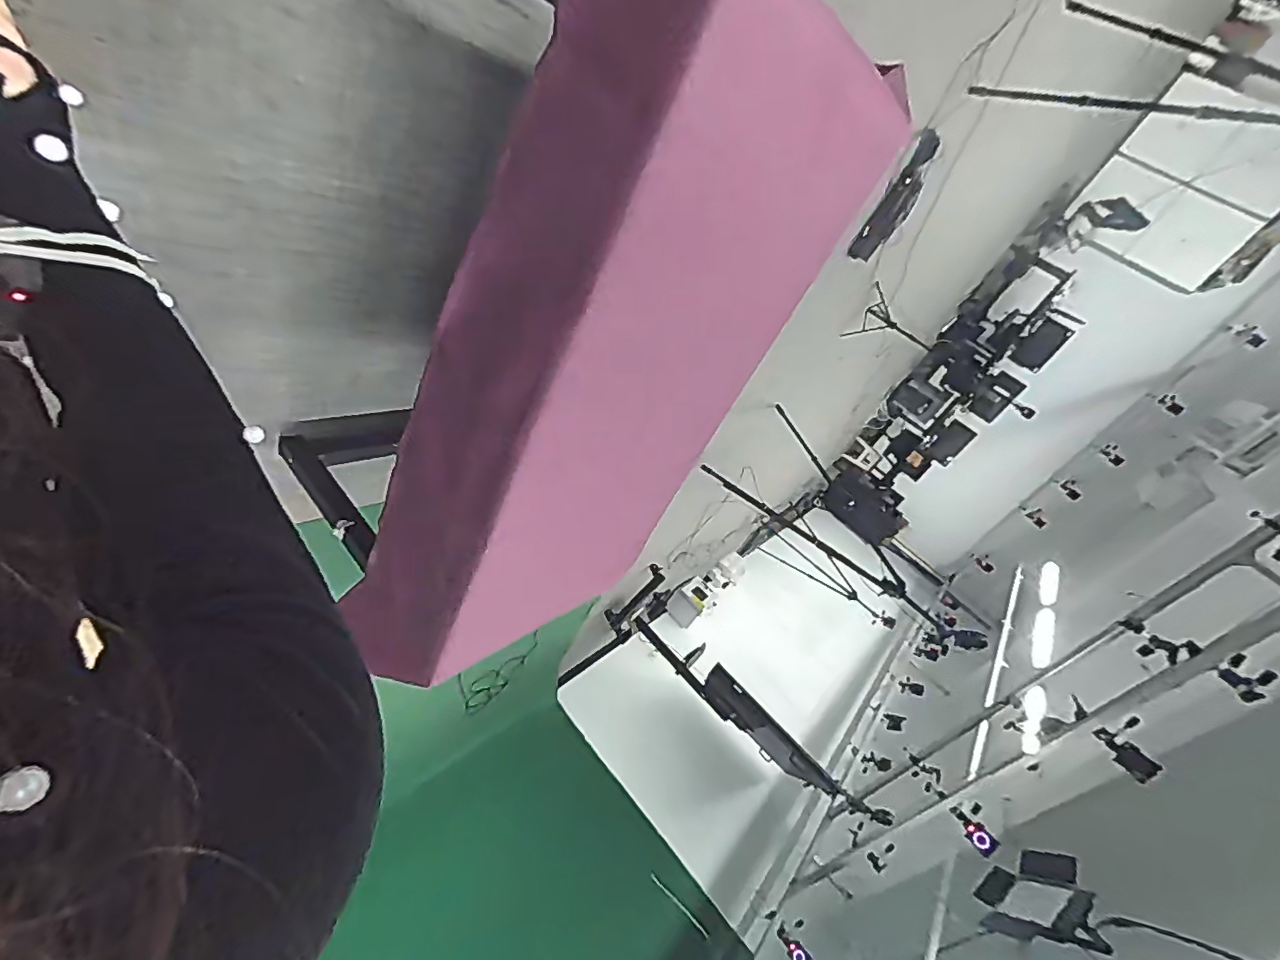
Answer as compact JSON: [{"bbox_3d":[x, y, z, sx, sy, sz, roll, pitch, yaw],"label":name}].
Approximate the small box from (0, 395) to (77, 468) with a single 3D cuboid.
[{"bbox_3d":[-1.069,-0.028,0.891,0.168,0.176,0.179,-16,145,-54],"label":"small box"}]
